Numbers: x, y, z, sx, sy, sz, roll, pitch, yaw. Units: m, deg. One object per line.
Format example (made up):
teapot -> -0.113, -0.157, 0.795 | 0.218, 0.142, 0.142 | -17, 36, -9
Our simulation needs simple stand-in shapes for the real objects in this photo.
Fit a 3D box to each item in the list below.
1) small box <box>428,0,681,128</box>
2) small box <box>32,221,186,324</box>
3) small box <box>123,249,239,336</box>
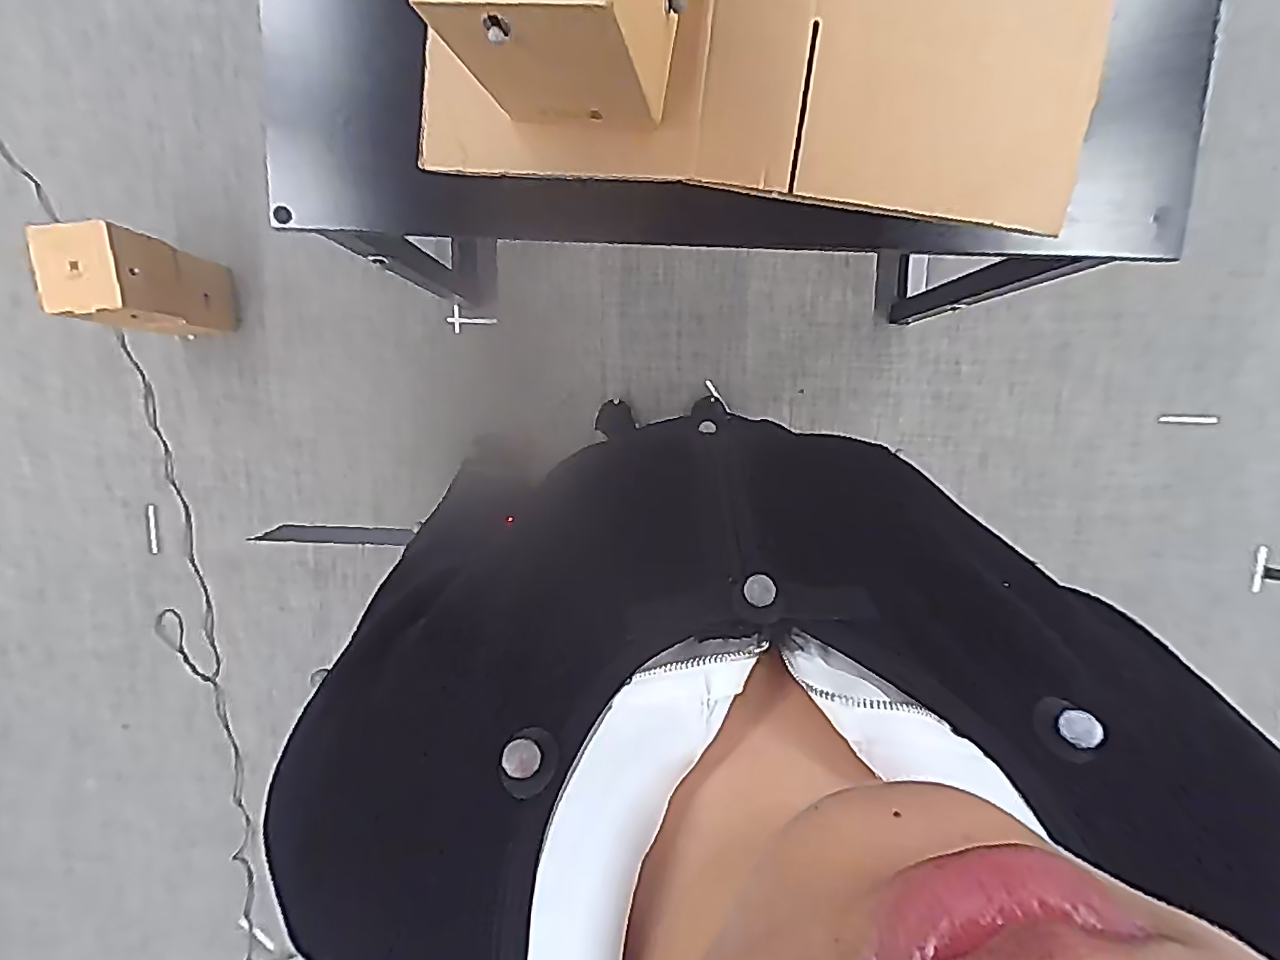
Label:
small box -> -0.061, -0.442, 0.461 | 0.168, 0.176, 0.179 | 12, 98, 12
small box -> -1.157, -0.448, 1.195 | 0.168, 0.176, 0.179 | -6, 97, 0
small box -> -1.154, -0.464, 1.357 | 0.168, 0.176, 0.179 | -2, 98, 1
